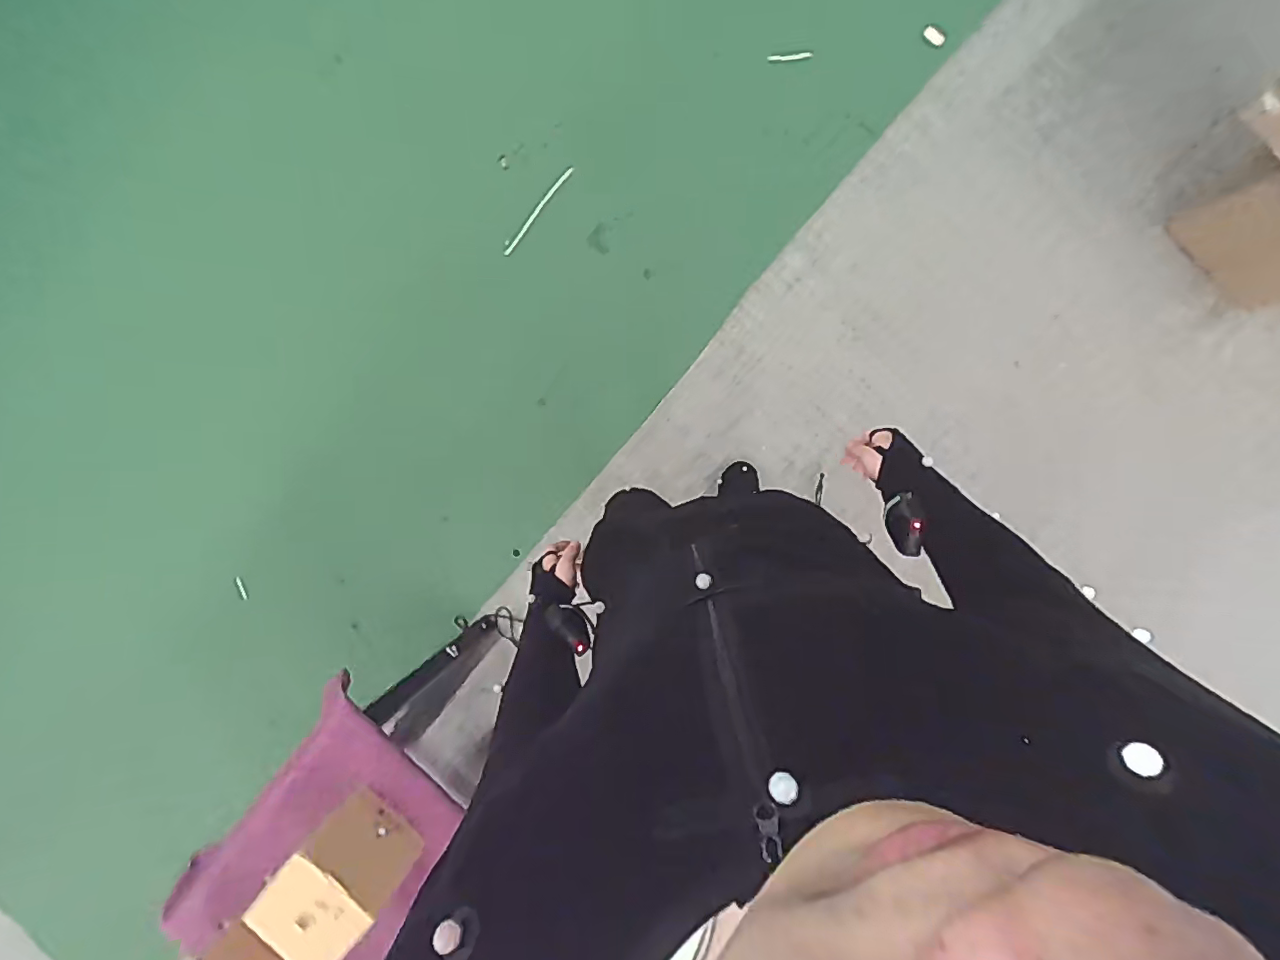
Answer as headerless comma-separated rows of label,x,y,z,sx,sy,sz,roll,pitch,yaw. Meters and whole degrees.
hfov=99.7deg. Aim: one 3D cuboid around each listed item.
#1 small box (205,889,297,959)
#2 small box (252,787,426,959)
small box,-0.720,0.920,1.000,0.168,0.176,0.179,42,99,1
small box,-0.516,0.698,0.952,0.168,0.176,0.179,40,99,1
